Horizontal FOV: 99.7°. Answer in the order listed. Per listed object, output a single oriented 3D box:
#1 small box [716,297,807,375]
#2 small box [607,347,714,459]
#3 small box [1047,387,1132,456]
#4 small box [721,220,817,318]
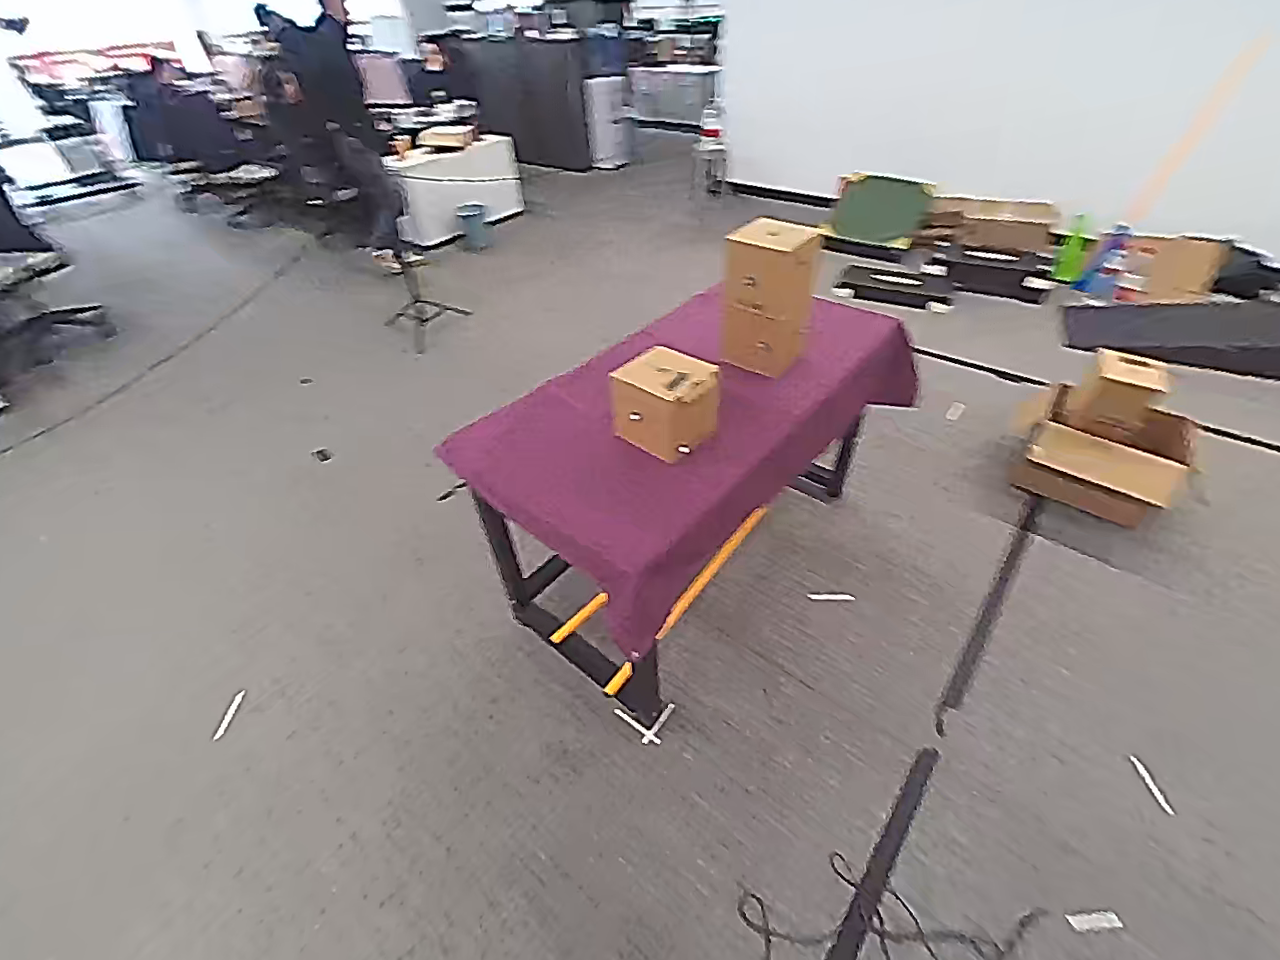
[{"bbox_3d":[0.321,-0.401,1.452,0.179,0.176,0.168,27,50,29],"label":"small box"},{"bbox_3d":[0.050,-0.171,1.222,0.179,0.176,0.168,30,52,32],"label":"small box"},{"bbox_3d":[1.609,-0.209,1.954,0.179,0.176,0.168,12,49,12],"label":"small box"},{"bbox_3d":[0.313,-0.523,1.341,0.168,0.176,0.179,29,51,29],"label":"small box"}]
